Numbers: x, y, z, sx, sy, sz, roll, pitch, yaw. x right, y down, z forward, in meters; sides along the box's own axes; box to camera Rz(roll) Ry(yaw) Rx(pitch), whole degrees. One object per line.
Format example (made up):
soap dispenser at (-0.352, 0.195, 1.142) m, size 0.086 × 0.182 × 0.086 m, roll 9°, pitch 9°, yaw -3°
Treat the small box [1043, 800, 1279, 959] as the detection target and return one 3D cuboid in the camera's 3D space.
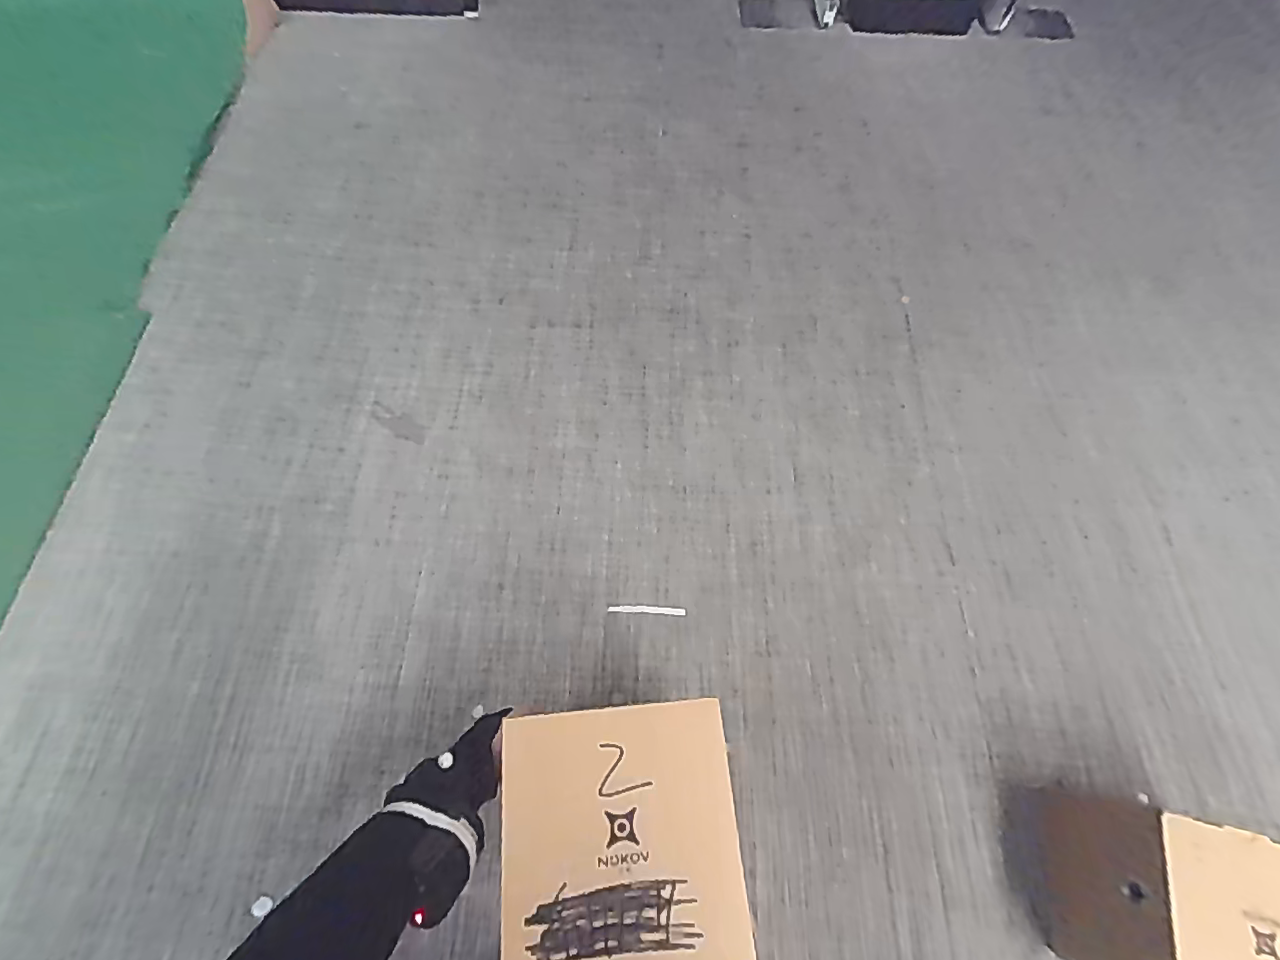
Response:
small box at (0.564, 0.459, 0.570) m, size 0.168 × 0.176 × 0.179 m, roll 14°, pitch 65°, yaw 6°
